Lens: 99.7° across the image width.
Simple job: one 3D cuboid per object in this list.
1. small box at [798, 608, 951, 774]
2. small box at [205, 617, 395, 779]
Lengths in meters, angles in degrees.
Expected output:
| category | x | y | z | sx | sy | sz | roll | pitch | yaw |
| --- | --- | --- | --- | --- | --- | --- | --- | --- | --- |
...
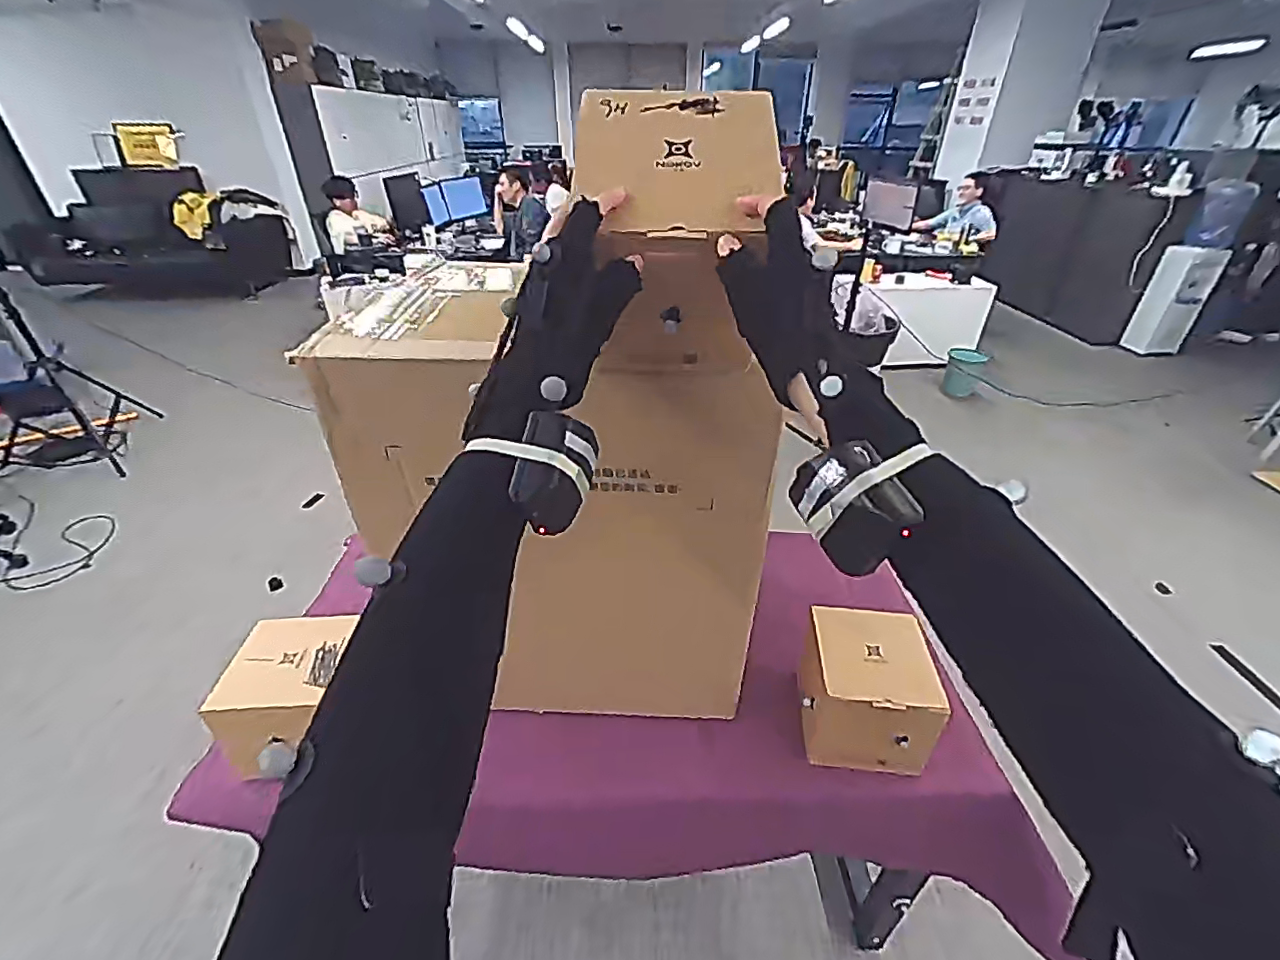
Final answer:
| category | x | y | z | sx | sy | sz | roll | pitch | yaw |
| --- | --- | --- | --- | --- | --- | --- | --- | --- | --- |
| small box | 0.351 | 0.328 | 0.849 | 0.168 | 0.176 | 0.179 | 4 | 32 | 5 |
| small box | -0.499 | 0.332 | 0.830 | 0.179 | 0.176 | 0.168 | -2 | 32 | -5 |
